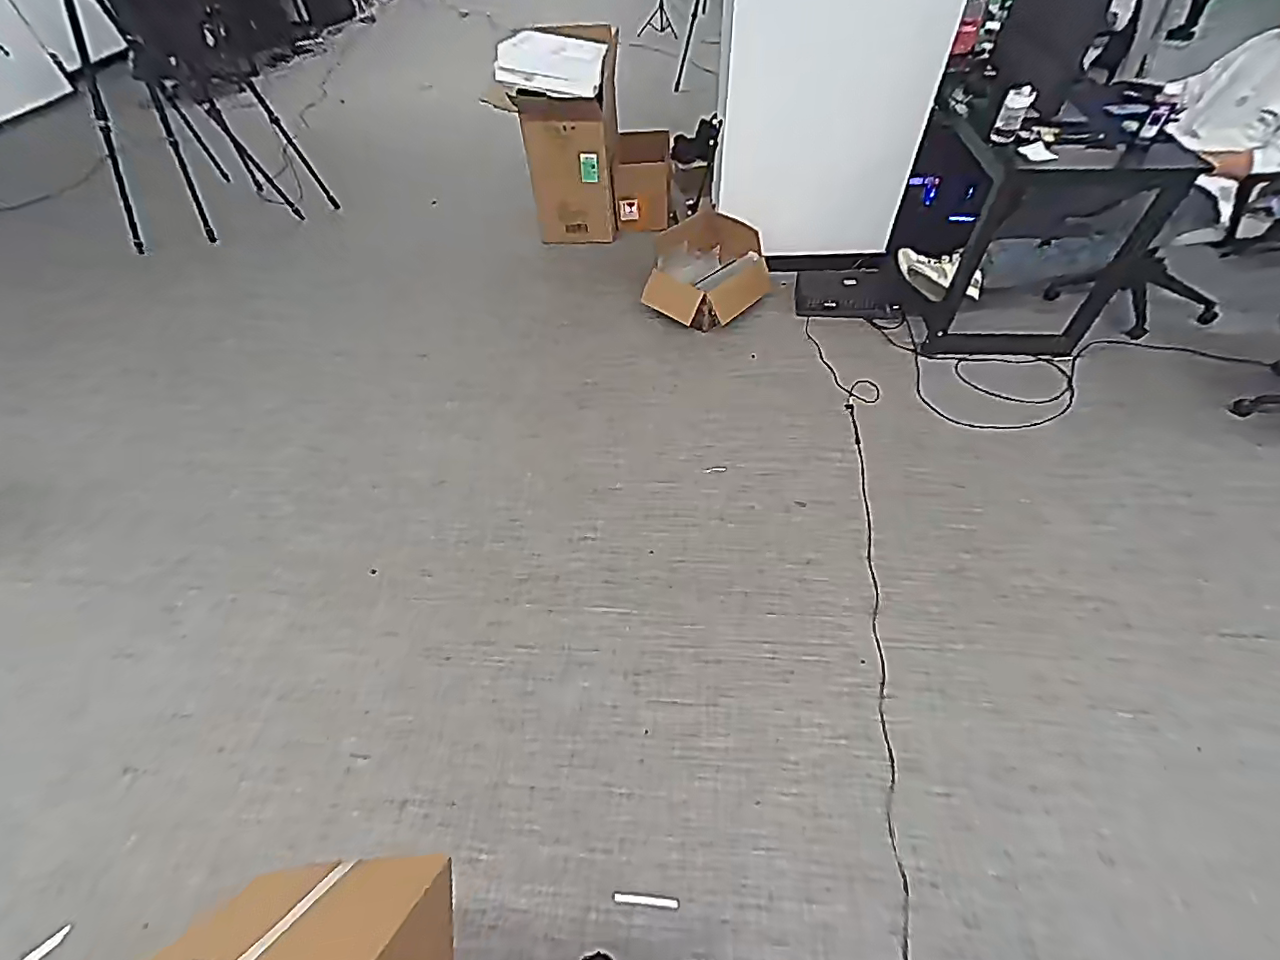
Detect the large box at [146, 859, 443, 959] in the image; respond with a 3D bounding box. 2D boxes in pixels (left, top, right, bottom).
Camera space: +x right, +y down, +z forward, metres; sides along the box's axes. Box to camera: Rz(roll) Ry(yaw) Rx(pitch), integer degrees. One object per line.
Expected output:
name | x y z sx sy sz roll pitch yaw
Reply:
large box | -0.453 0.732 0.647 0.320 0.408 0.320 -6 80 0
